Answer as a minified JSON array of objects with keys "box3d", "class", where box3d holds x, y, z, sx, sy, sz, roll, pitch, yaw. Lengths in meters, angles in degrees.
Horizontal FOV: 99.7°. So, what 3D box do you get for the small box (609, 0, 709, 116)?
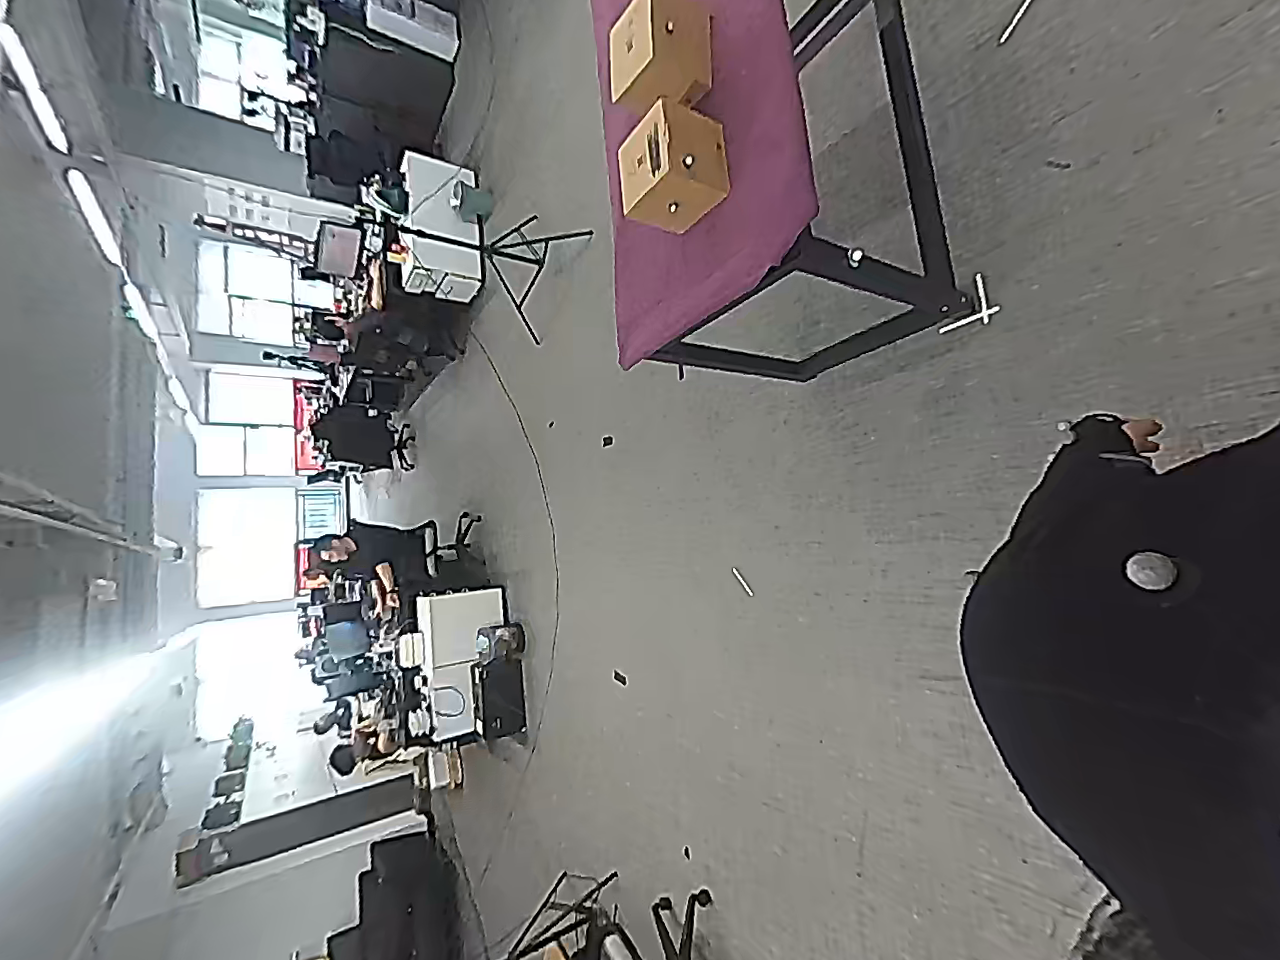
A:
[{"box3d":[0.045,-0.965,1.224,0.168,0.176,0.179,-2,89,55],"class":"small box"}]
